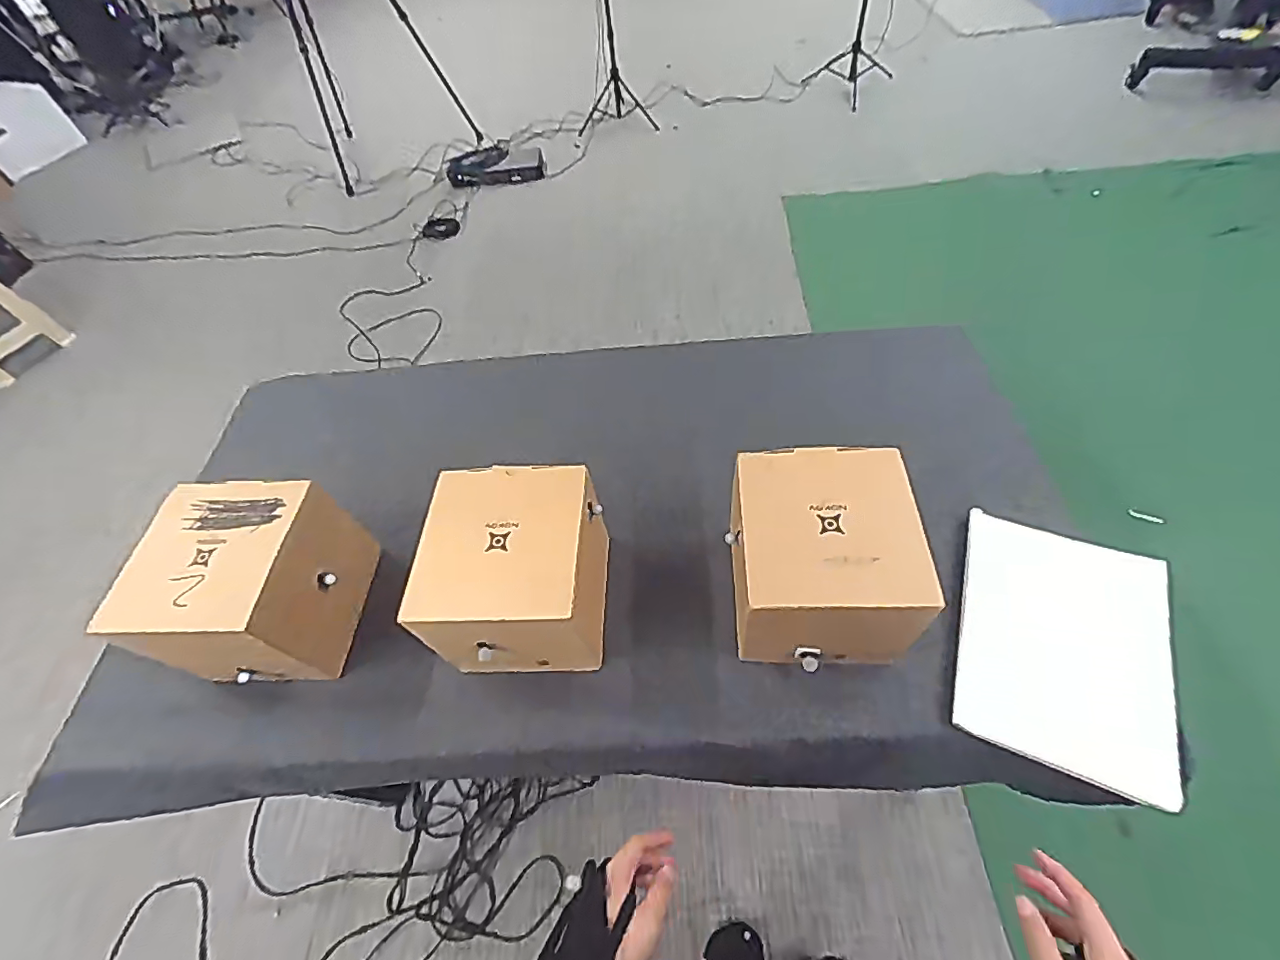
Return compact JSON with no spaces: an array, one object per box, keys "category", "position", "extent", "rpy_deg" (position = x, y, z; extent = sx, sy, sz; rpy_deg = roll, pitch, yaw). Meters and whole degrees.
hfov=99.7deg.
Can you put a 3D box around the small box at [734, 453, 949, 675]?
[{"category":"small box","position":[0.188,0.091,0.569],"extent":[0.168,0.176,0.179],"rpy_deg":[-2,55,7]}]

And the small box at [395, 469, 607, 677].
[{"category":"small box","position":[-0.132,0.109,0.594],"extent":[0.168,0.176,0.179],"rpy_deg":[-2,53,5]}]
